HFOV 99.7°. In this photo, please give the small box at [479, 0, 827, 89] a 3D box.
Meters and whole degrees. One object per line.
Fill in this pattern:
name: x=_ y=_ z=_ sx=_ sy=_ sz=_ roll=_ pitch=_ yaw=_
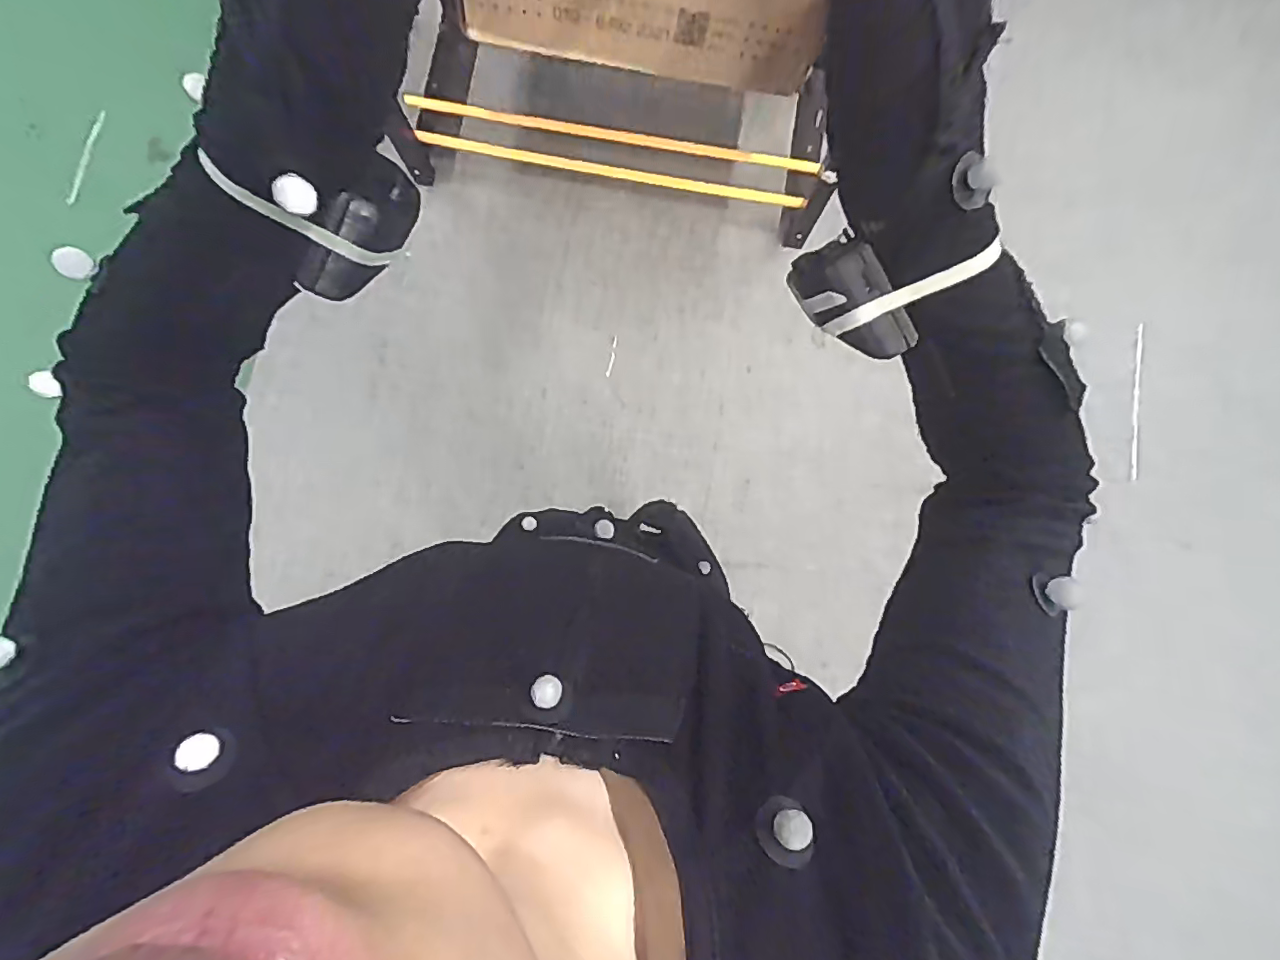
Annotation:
small box: x=0.014 y=-0.310 z=0.214 sx=0.168 sy=0.176 sz=0.179 roll=4 pitch=76 yaw=-8
